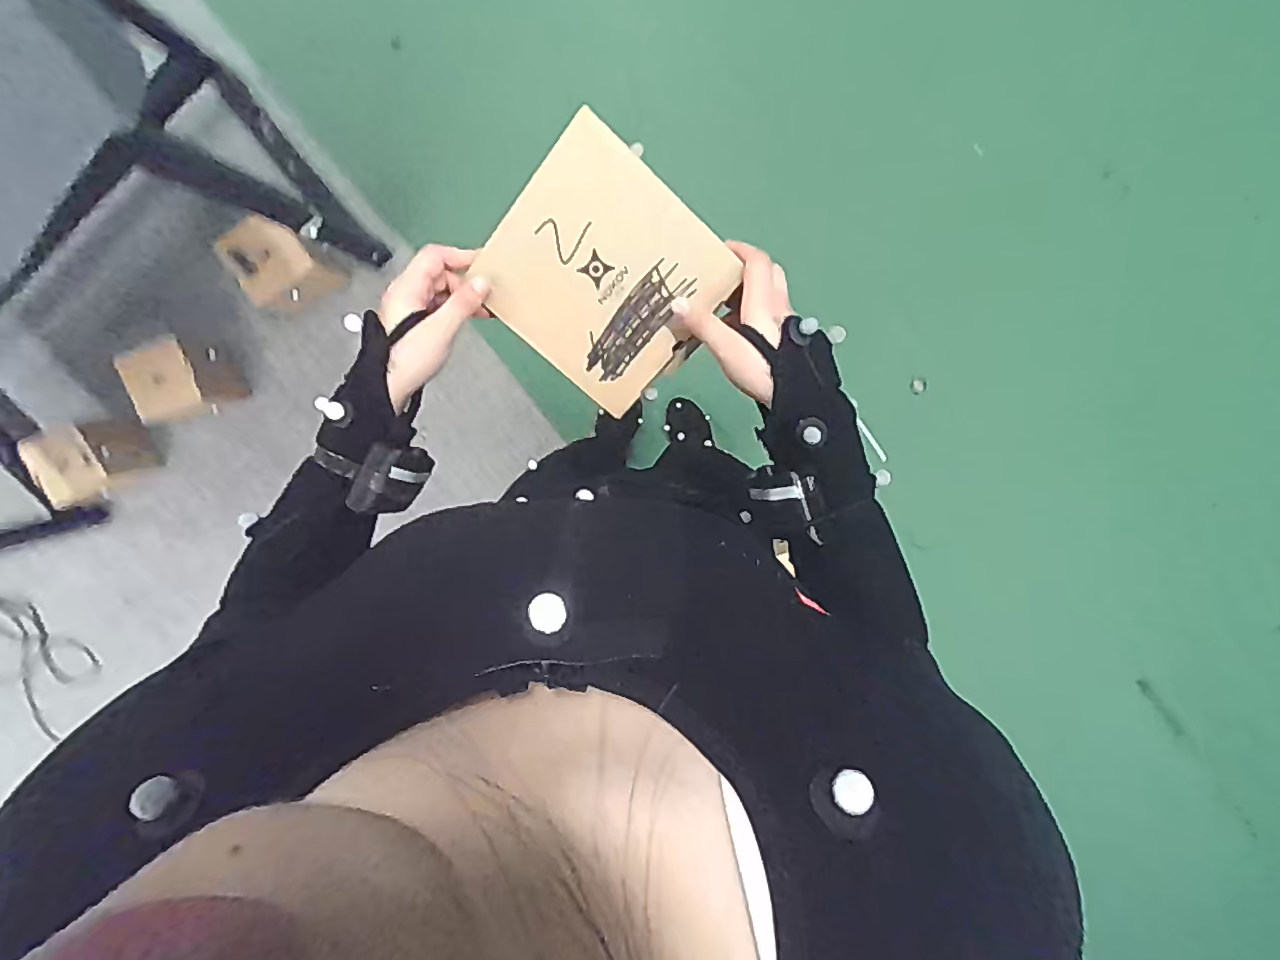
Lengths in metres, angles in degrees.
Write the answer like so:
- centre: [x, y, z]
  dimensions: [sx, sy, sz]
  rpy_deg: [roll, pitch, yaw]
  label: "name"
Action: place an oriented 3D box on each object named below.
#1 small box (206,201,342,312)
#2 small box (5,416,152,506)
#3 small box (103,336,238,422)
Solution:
- centre: [-0.874, -0.529, 1.310]
  dimensions: [0.179, 0.176, 0.168]
  rpy_deg: [-32, 98, 6]
  label: "small box"
- centre: [-1.449, -0.055, 1.408]
  dimensions: [0.179, 0.176, 0.168]
  rpy_deg: [-25, 99, 6]
  label: "small box"
- centre: [-1.168, -0.255, 1.367]
  dimensions: [0.179, 0.176, 0.168]
  rpy_deg: [-17, 99, 6]
  label: "small box"
